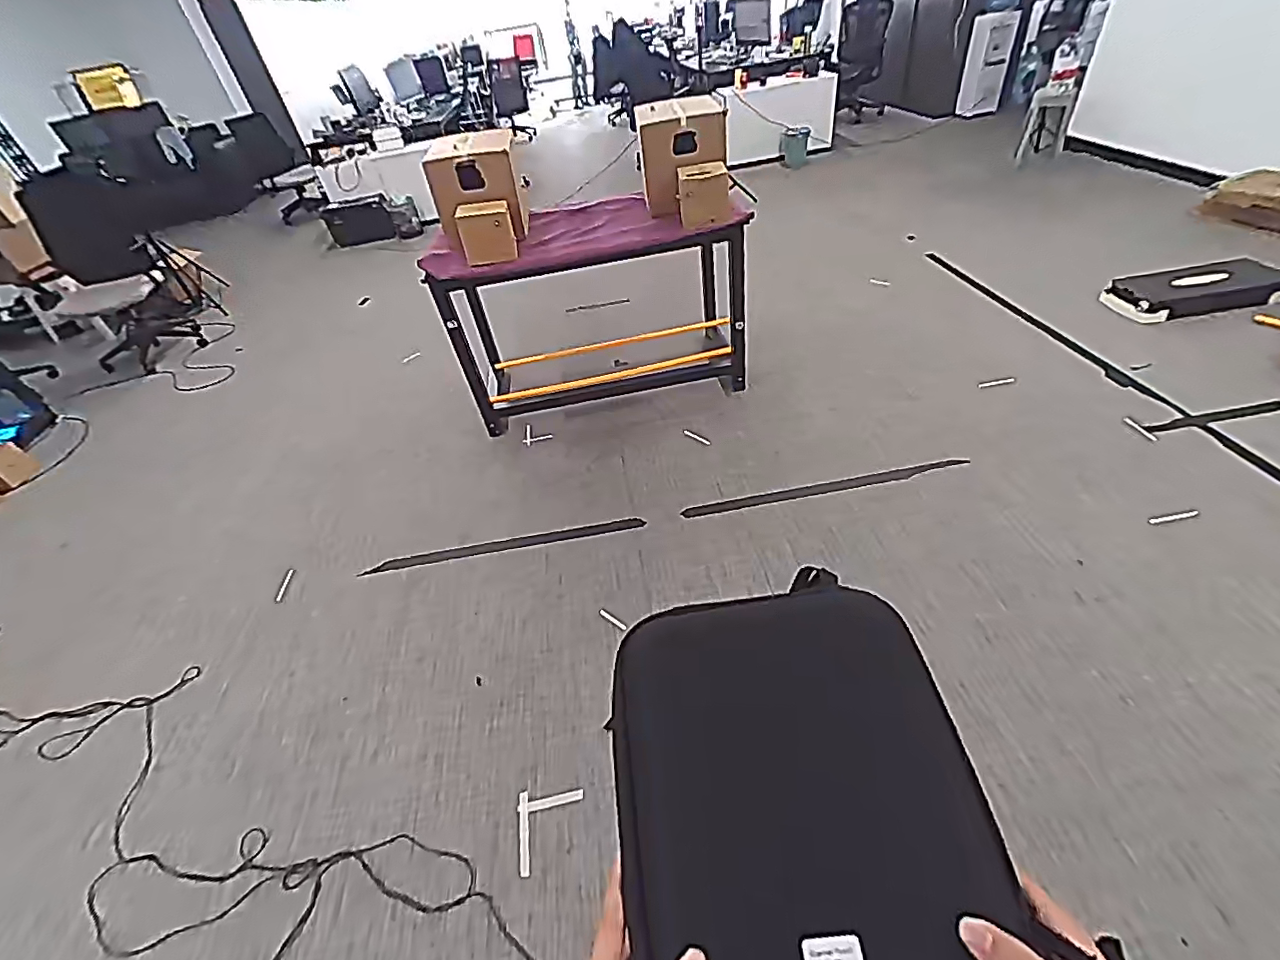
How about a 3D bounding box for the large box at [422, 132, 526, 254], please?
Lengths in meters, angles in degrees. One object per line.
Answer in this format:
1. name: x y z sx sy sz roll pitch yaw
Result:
1. large box: -0.642 -1.151 2.159 0.320 0.320 0.408 -10 44 -2
